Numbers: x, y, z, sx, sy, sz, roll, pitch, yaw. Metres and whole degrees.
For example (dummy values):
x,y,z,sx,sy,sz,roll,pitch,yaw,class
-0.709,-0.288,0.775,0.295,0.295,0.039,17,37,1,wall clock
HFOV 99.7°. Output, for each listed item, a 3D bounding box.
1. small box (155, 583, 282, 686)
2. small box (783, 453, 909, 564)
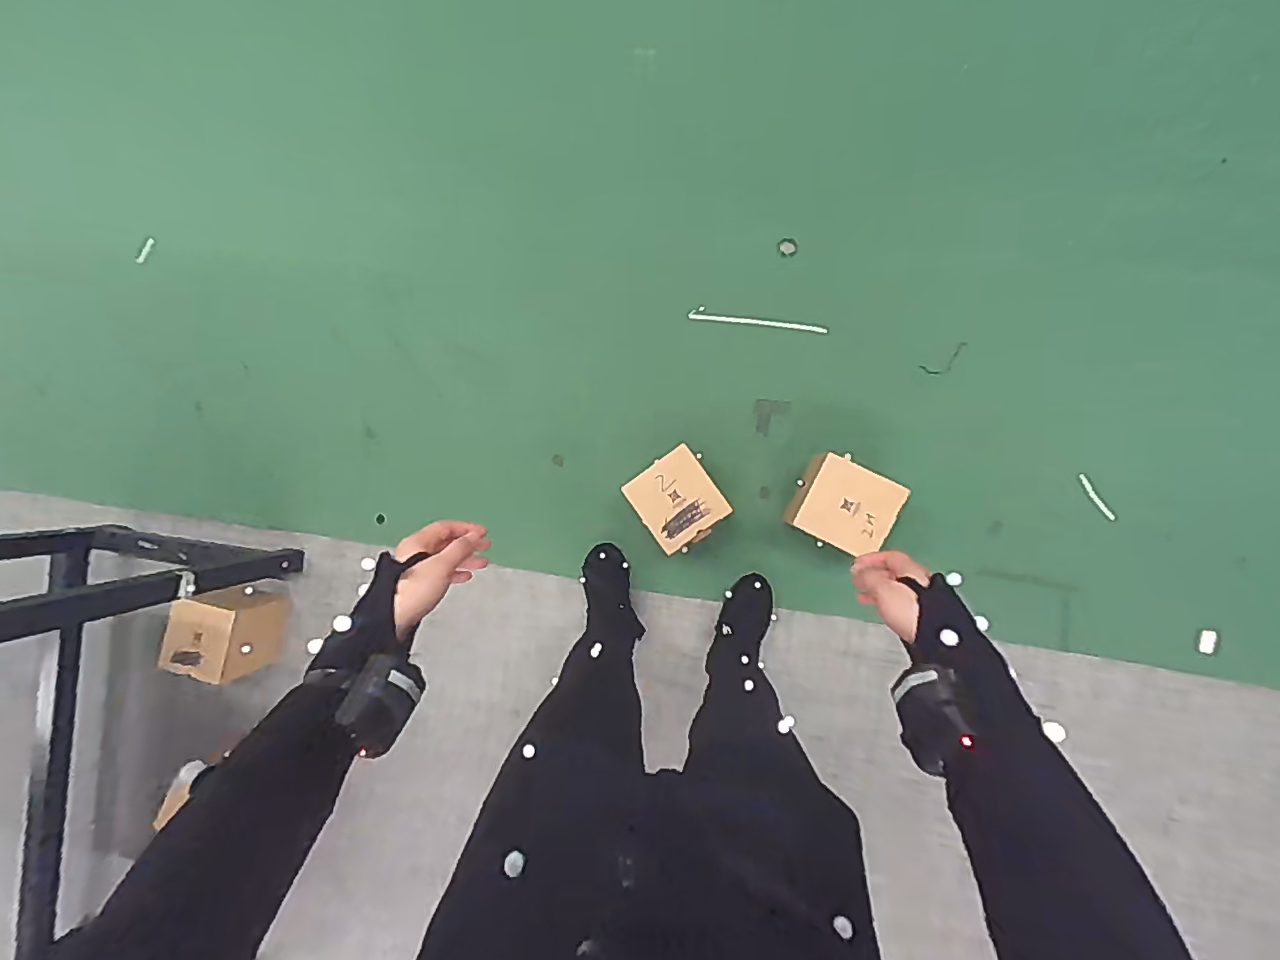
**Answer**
x,y,z,sx,sy,sz,roll,pitch,yaw,class
-1.017,0.368,1.319,0.168,0.176,0.179,13,92,6,small box
0.423,0.057,1.147,0.179,0.176,0.168,27,94,5,small box
